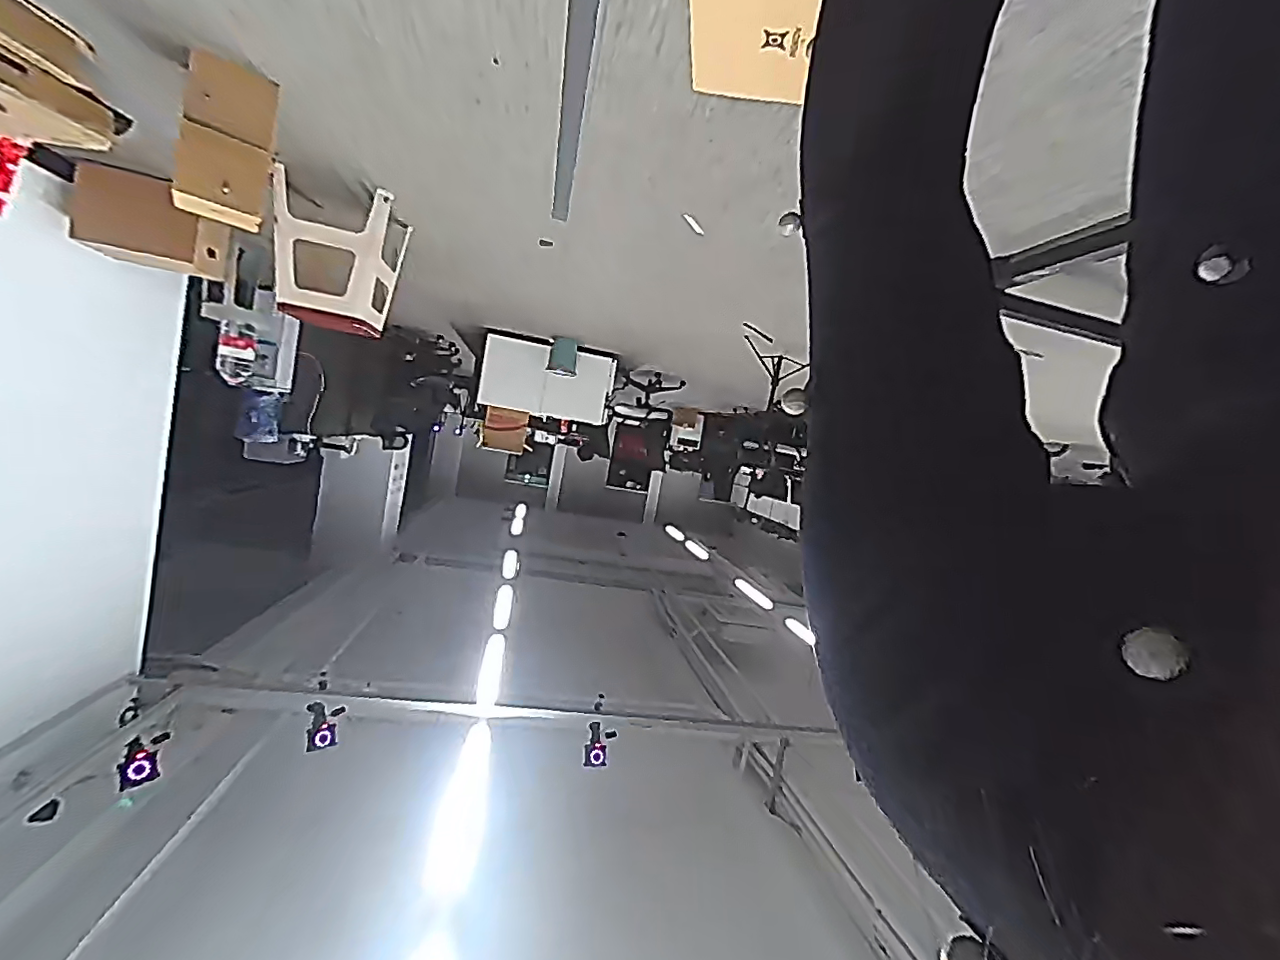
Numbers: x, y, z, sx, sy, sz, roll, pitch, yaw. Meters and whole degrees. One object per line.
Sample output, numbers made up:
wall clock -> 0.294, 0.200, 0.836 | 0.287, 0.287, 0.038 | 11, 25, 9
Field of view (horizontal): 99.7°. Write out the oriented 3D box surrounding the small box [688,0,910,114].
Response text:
small box -> 0.146, -0.479, 0.494 | 0.179, 0.176, 0.168 | 9, -175, 3
